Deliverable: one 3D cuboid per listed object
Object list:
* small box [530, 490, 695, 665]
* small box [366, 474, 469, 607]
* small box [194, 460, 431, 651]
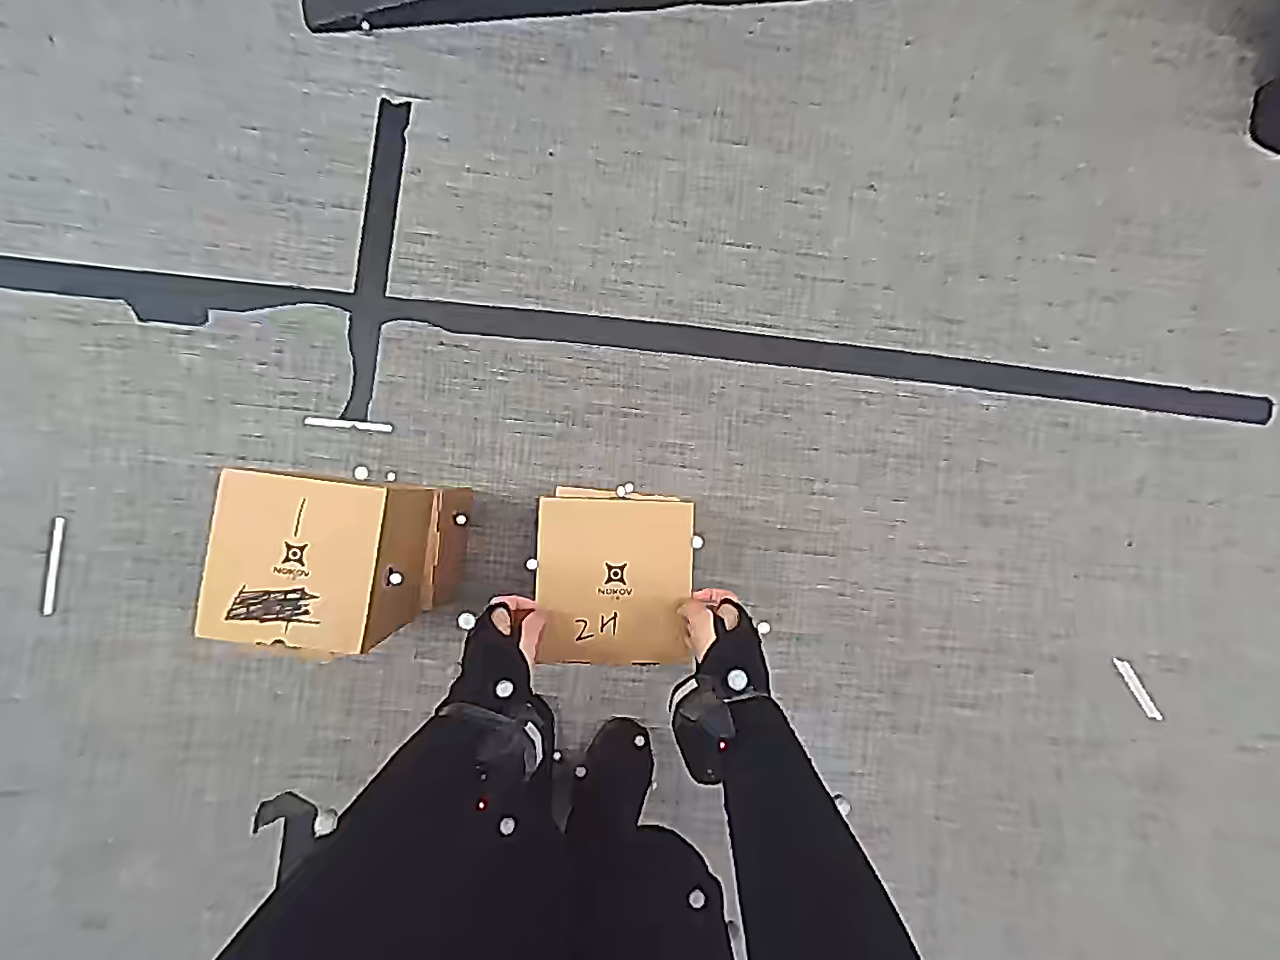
[{"bbox_3d":[-0.032,0.106,0.641,0.168,0.176,0.179,3,87,-3],"label":"small box"},{"bbox_3d":[-0.360,0.079,0.789,0.179,0.176,0.168,6,89,-4],"label":"small box"},{"bbox_3d":[-0.357,0.079,0.625,0.168,0.176,0.179,8,87,-5],"label":"small box"}]
